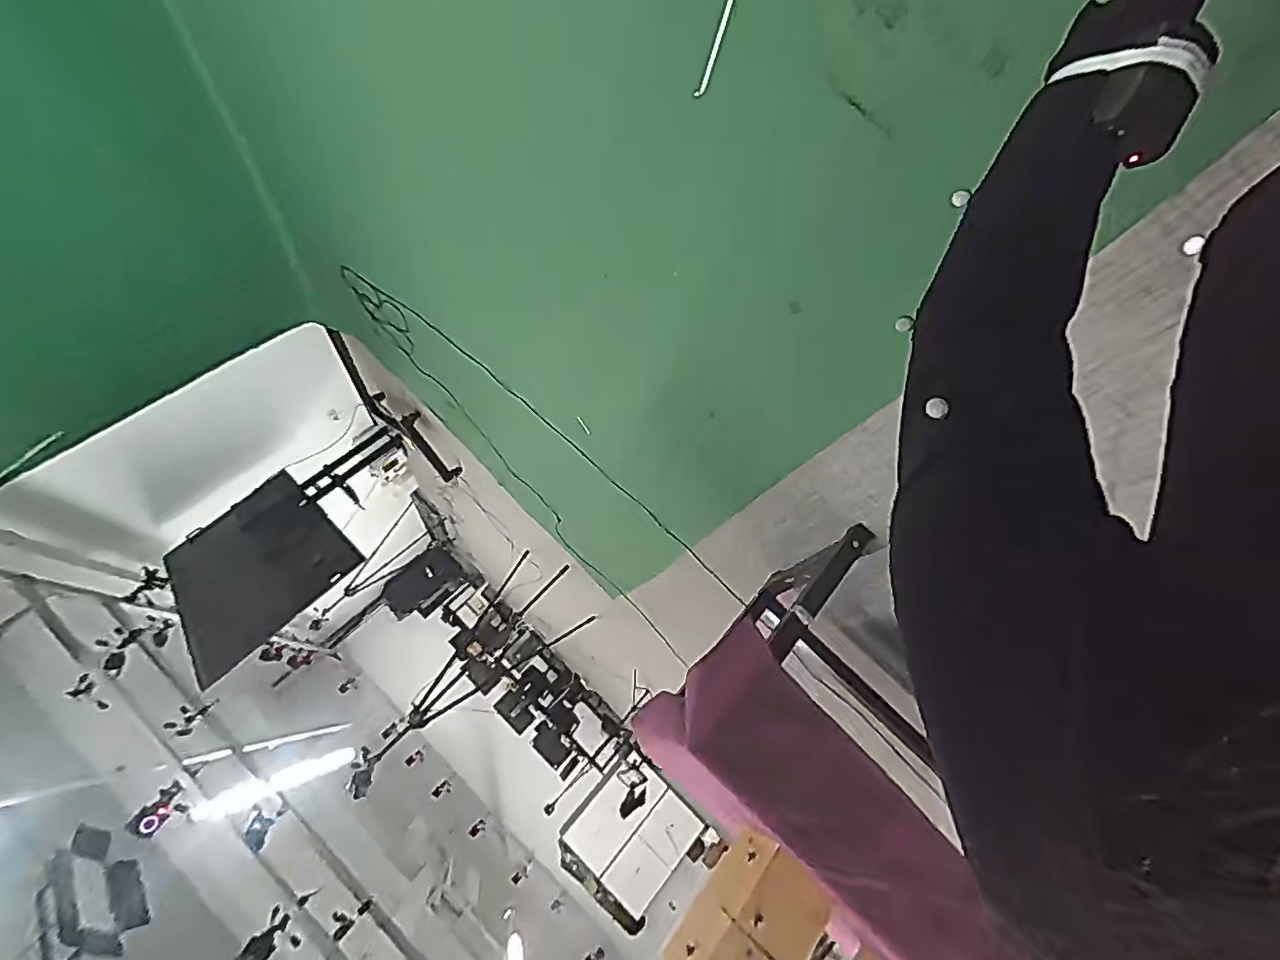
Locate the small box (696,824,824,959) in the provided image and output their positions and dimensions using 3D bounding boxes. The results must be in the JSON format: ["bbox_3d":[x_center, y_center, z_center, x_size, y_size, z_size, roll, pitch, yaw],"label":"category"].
[{"bbox_3d":[0.259,0.895,1.166,0.179,0.176,0.168,47,156,2],"label":"small box"}]

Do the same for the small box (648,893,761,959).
[{"bbox_3d":[0.147,0.995,1.099,0.168,0.176,0.179,45,155,5],"label":"small box"}]
